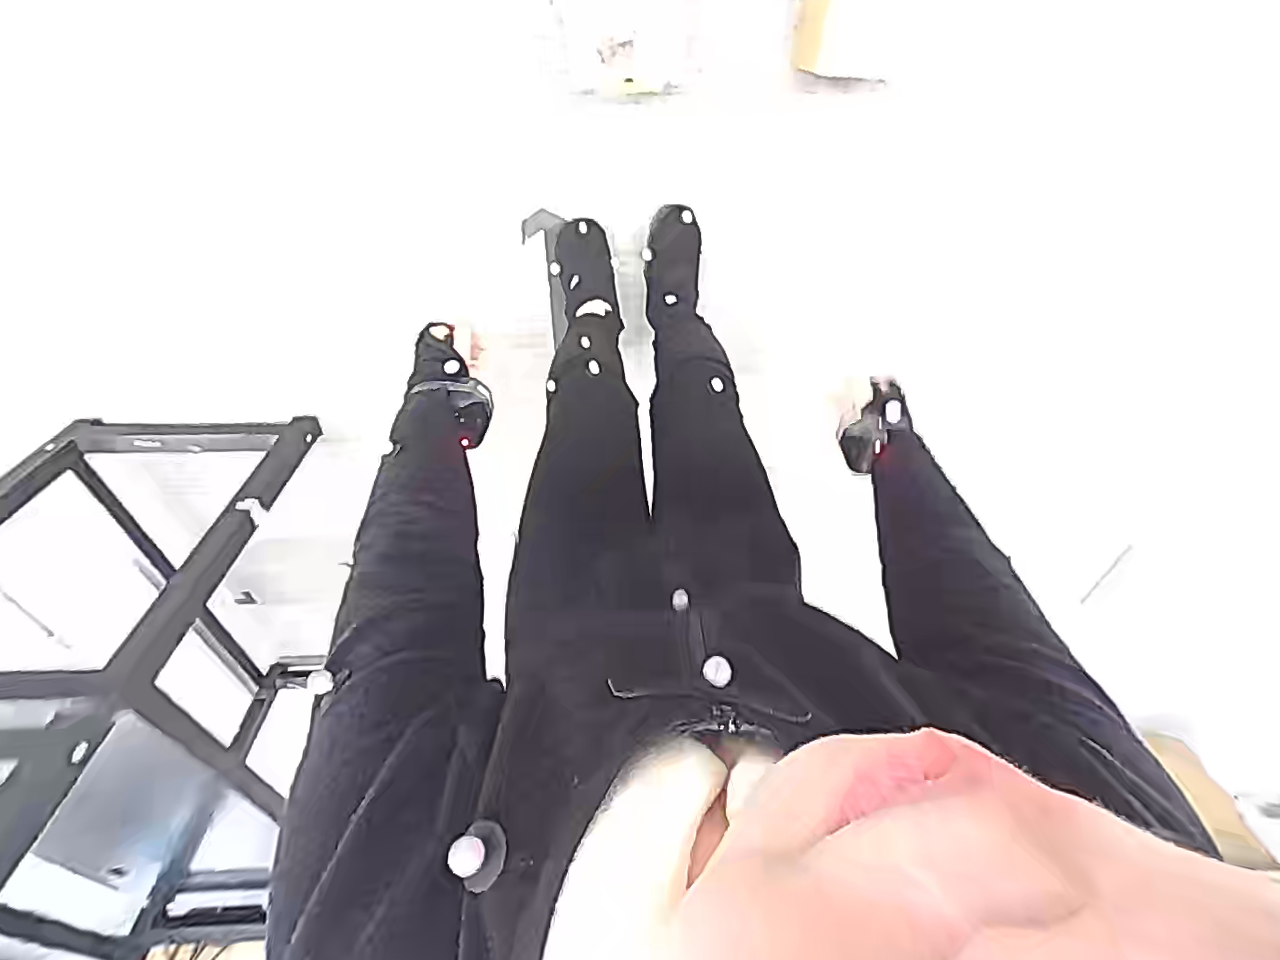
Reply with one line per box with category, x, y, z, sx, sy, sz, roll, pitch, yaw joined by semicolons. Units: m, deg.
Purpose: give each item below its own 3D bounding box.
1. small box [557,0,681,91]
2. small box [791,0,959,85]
small box;-0.030;-0.687;0.782;0.168;0.176;0.179;-6;131;1
small box;0.344;-0.700;0.798;0.179;0.176;0.168;1;131;-4
